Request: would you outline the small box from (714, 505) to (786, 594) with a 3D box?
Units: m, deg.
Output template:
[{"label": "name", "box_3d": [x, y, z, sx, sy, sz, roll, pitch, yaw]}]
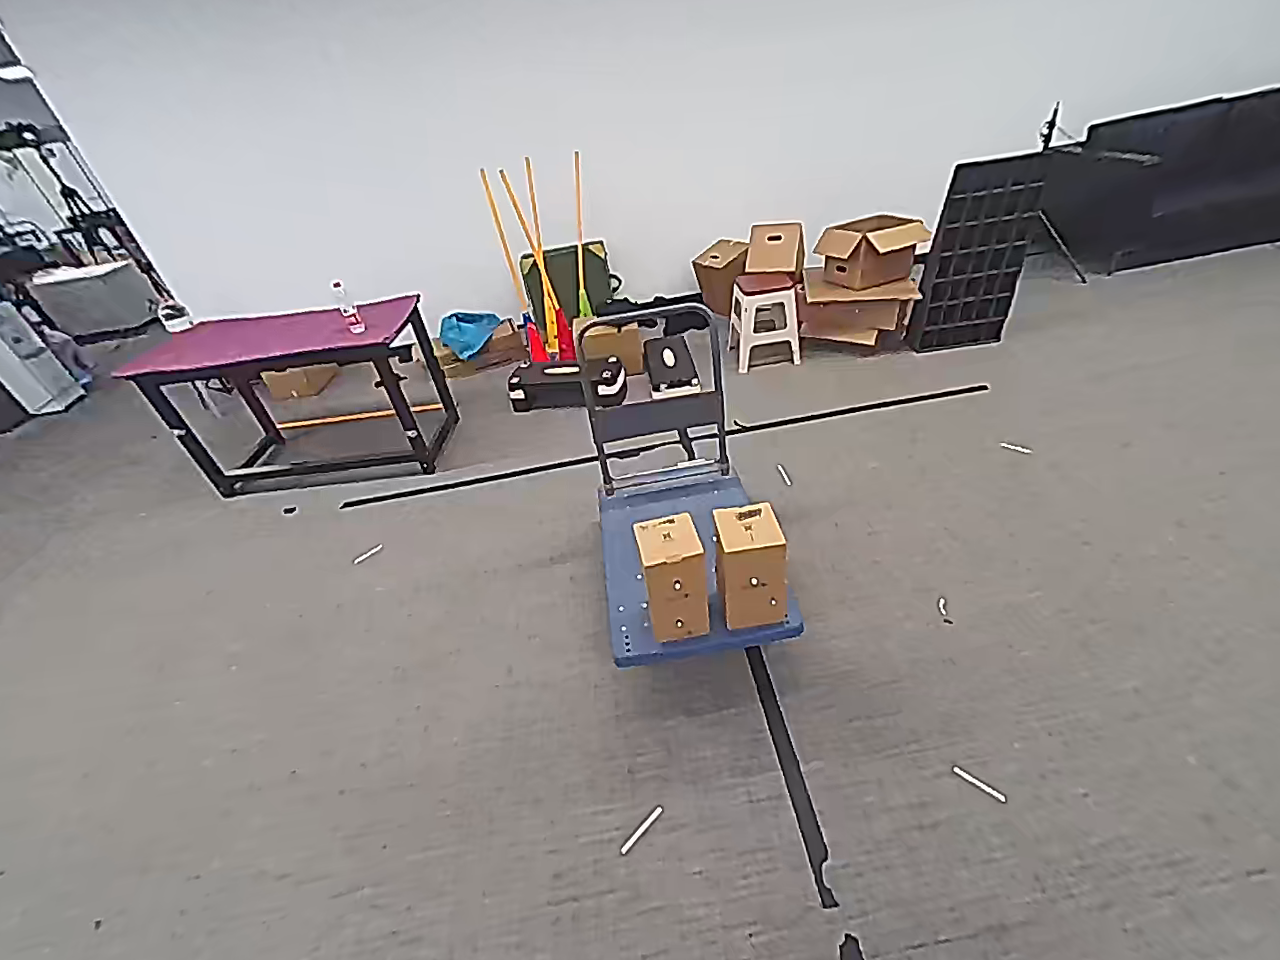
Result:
[{"label": "small box", "box_3d": [0.303, 0.195, 1.519, 0.168, 0.176, 0.179, -8, 37, 1]}]

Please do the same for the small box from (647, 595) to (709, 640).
[{"label": "small box", "box_3d": [0.107, 0.360, 1.619, 0.168, 0.176, 0.179, -10, 36, -3]}]

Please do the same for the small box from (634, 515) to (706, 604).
[{"label": "small box", "box_3d": [0.084, 0.230, 1.520, 0.168, 0.176, 0.179, -11, 37, -4]}]
